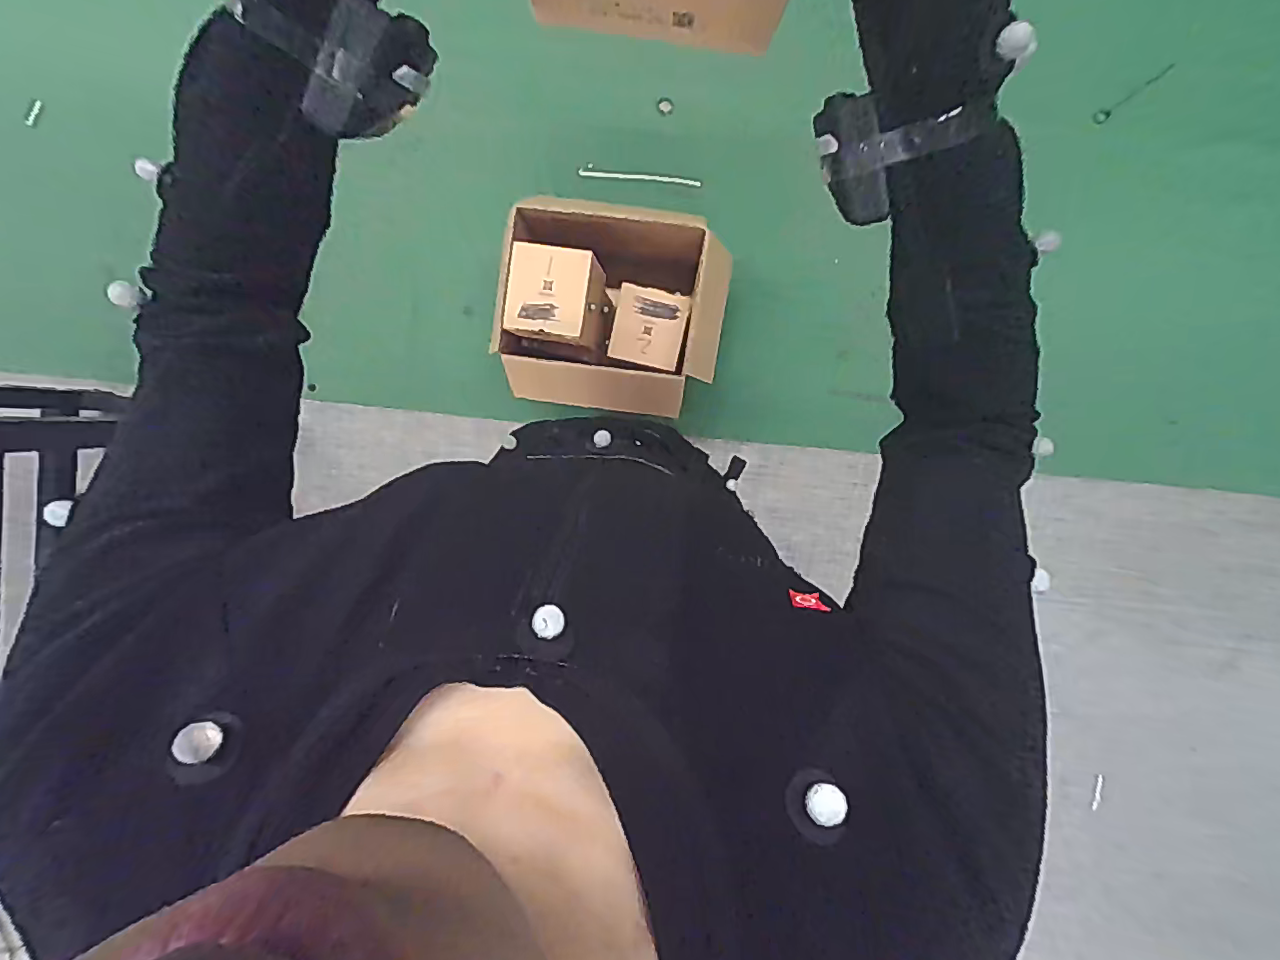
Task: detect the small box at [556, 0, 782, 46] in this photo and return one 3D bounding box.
[{"bbox_3d":[0.018,-0.371,0.276,0.168,0.176,0.179,8,101,-2],"label":"small box"}]
